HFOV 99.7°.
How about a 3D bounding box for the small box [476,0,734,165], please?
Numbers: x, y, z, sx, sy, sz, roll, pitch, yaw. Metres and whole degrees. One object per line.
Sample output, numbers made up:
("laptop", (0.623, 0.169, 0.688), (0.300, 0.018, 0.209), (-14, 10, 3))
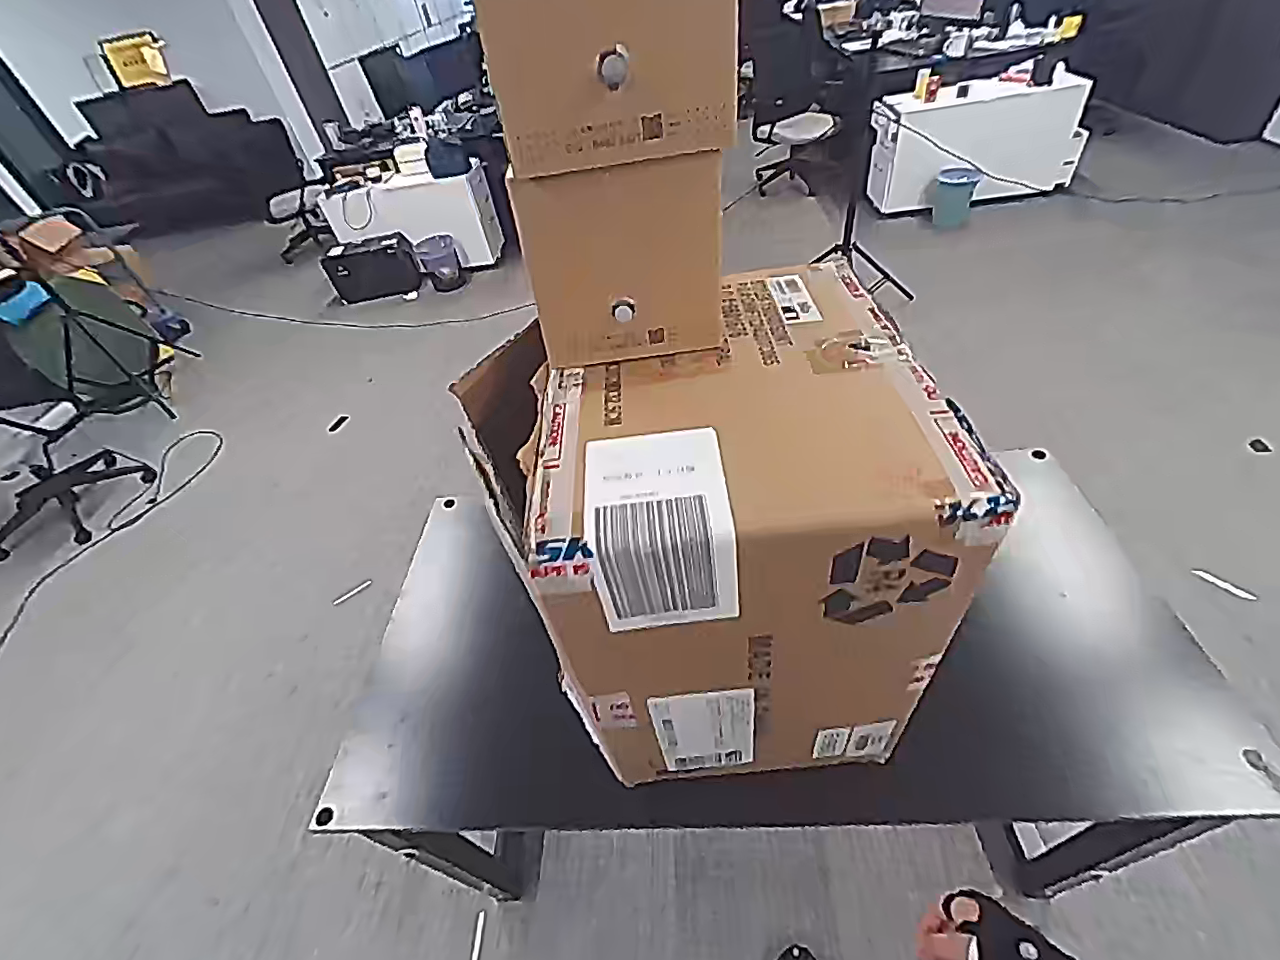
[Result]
("small box", (-0.029, -0.351, 0.402), (0.168, 0.176, 0.179), (-9, 42, 0))

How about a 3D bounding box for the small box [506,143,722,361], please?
("small box", (-0.018, -0.235, 0.520), (0.168, 0.176, 0.179), (-7, 43, 1))
